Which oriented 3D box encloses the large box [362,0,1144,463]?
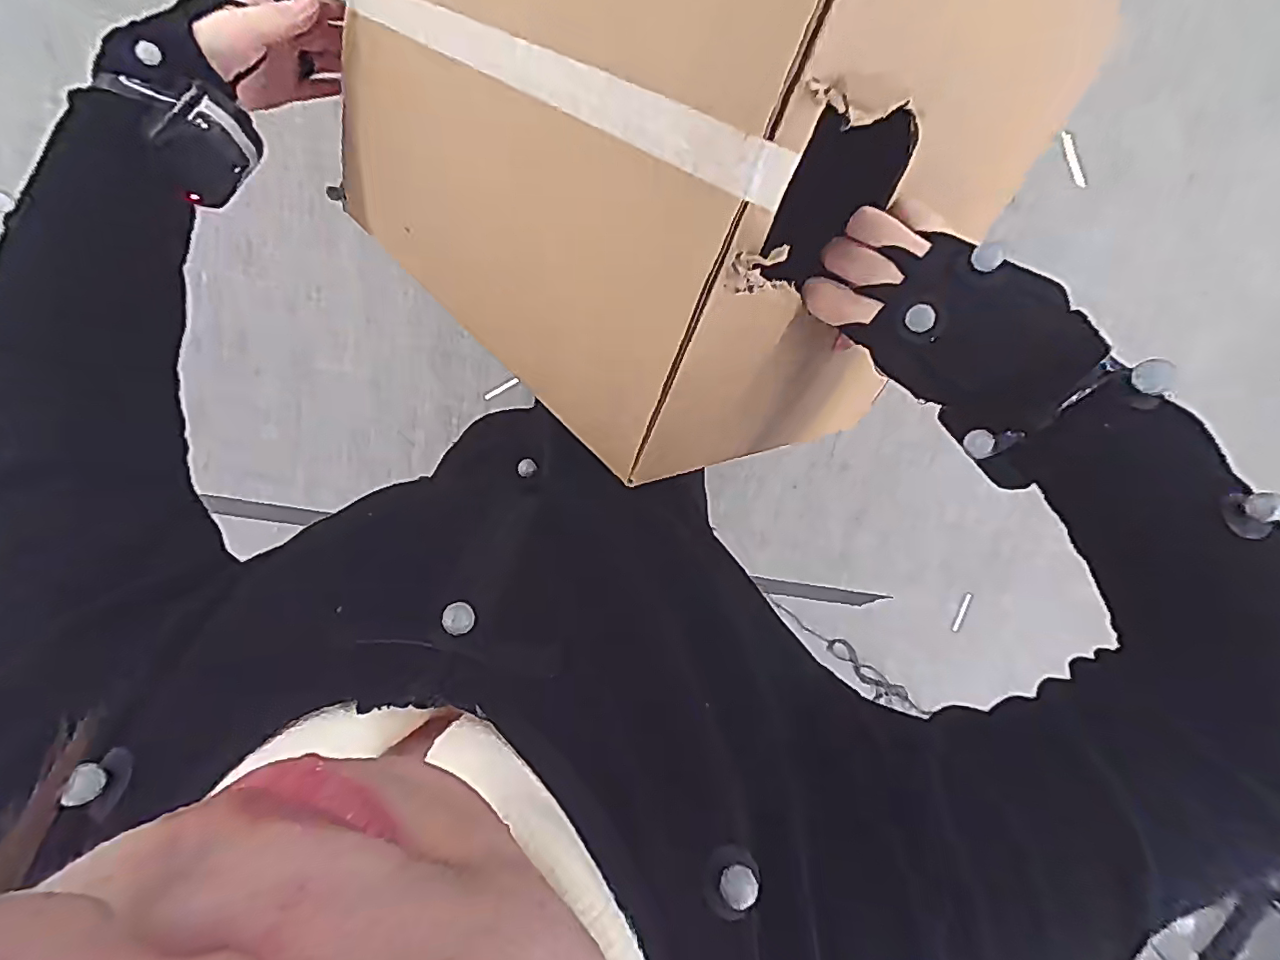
[{"bbox_3d":[0.036,-0.267,0.401,0.320,0.408,0.320,-14,137,-43],"label":"large box"}]
